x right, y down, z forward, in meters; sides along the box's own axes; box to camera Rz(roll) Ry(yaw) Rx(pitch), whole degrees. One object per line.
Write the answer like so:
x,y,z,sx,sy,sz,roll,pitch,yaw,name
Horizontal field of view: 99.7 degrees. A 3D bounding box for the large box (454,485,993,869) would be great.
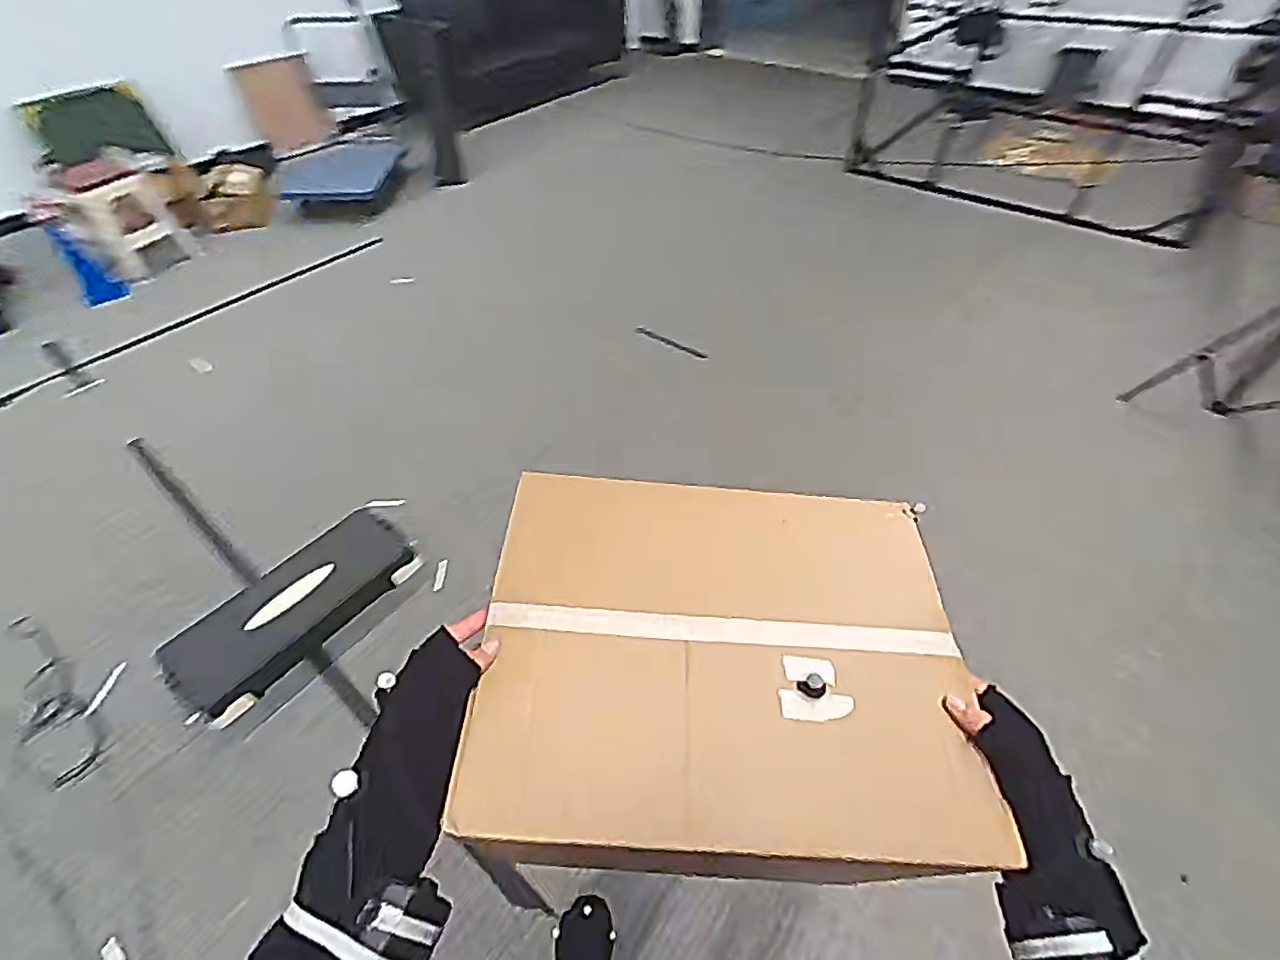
0.053,0.226,0.594,0.408,0.320,0.320,3,51,-3,large box
